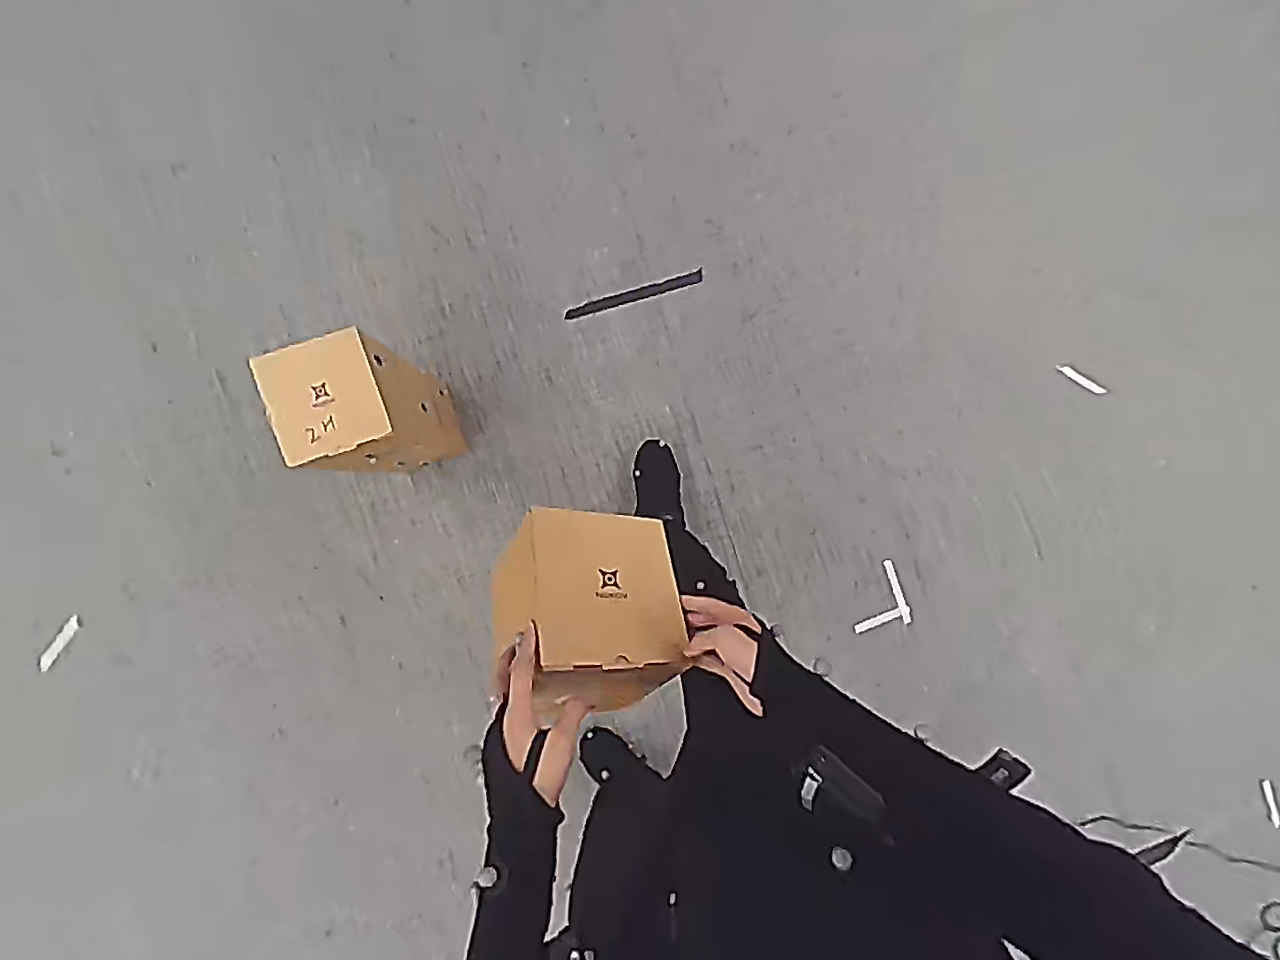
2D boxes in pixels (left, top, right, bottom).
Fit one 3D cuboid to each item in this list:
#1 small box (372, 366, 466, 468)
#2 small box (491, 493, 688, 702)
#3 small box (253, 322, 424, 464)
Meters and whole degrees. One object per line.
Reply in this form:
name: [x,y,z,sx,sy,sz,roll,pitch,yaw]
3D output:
small box: [-0.512,-0.134,1.219,0.168,0.176,0.179,-19,91,-5]
small box: [-0.071,0.141,0.628,0.168,0.176,0.179,9,51,-28]
small box: [-0.483,-0.133,0.893,0.168,0.176,0.179,-19,92,-5]
